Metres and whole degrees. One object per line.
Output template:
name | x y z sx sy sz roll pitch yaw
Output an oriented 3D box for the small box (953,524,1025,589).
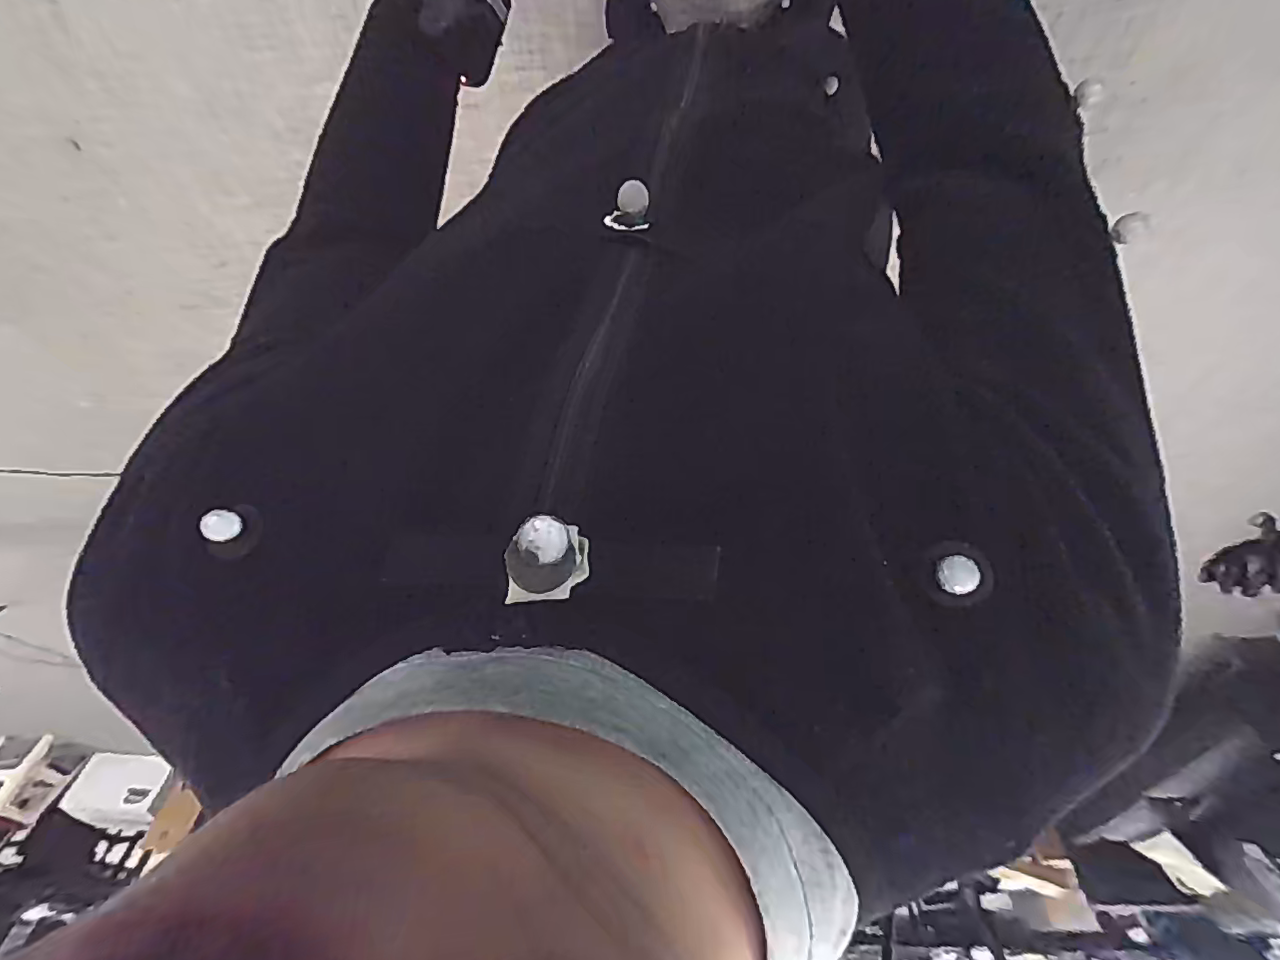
small box | 1.291 0.278 2.012 0.168 0.176 0.179 -10 133 12
